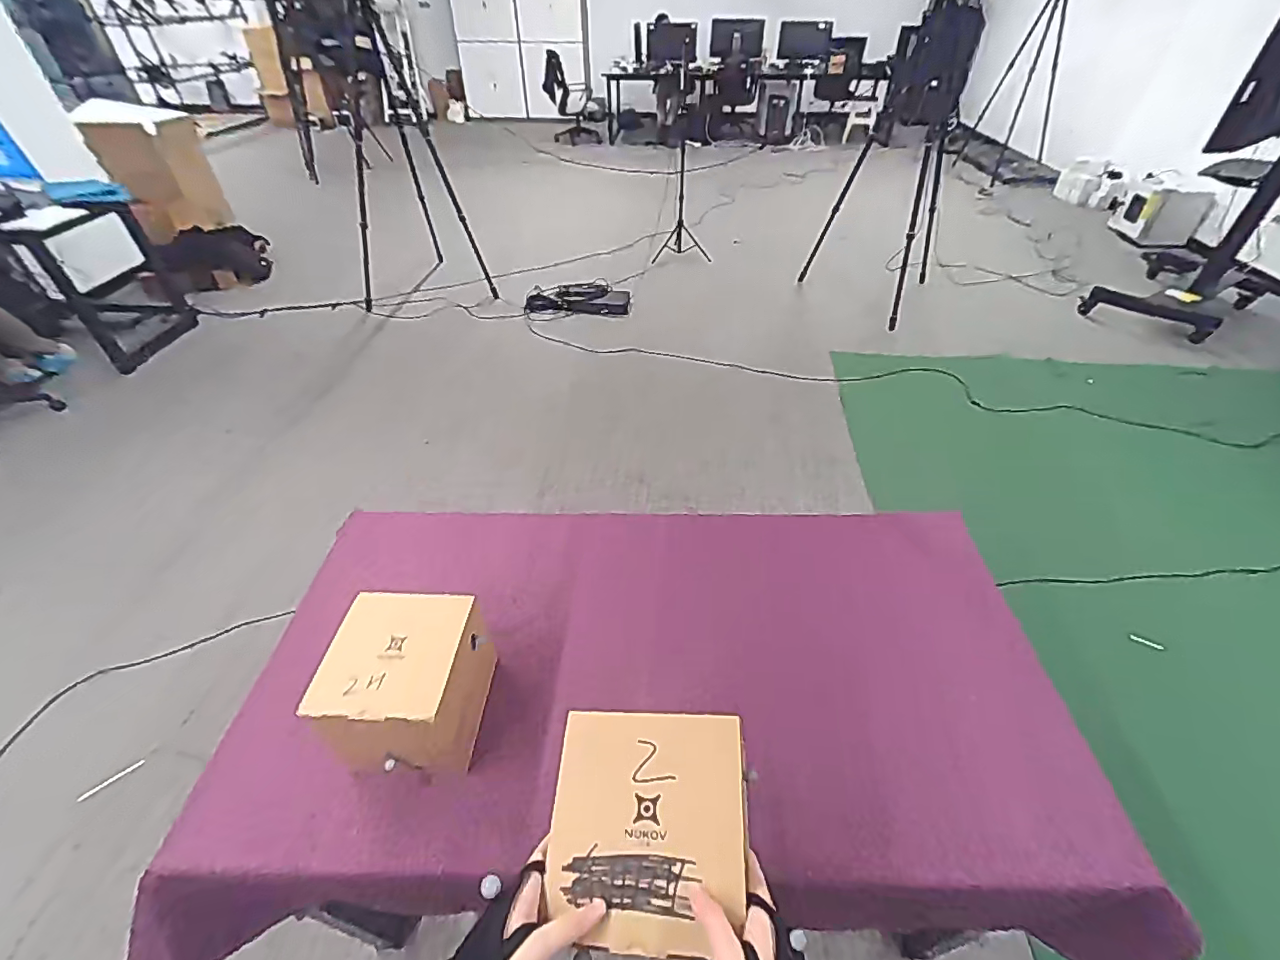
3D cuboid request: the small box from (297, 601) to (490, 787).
[{"bbox_3d":[-0.312,0.287,0.732,0.168,0.176,0.179,1,41,2],"label":"small box"}]
